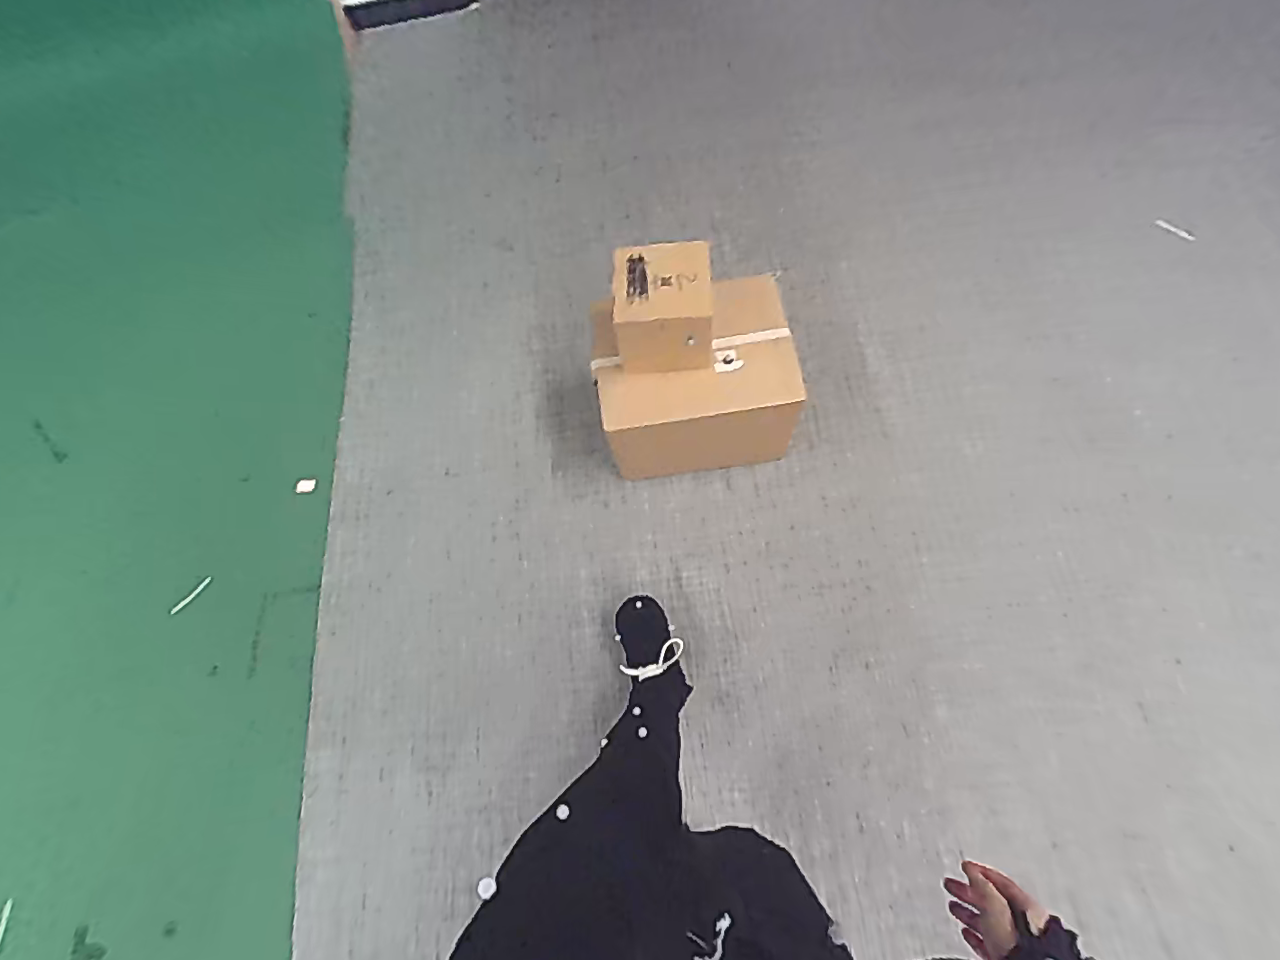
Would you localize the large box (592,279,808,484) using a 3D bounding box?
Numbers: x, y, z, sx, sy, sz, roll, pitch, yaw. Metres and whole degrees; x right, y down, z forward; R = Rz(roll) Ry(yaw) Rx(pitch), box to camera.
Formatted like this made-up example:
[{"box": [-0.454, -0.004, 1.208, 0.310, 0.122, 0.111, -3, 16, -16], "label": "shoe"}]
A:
[{"box": [0.123, -0.208, 1.248, 0.408, 0.320, 0.320, -9, 71, 1], "label": "large box"}]
